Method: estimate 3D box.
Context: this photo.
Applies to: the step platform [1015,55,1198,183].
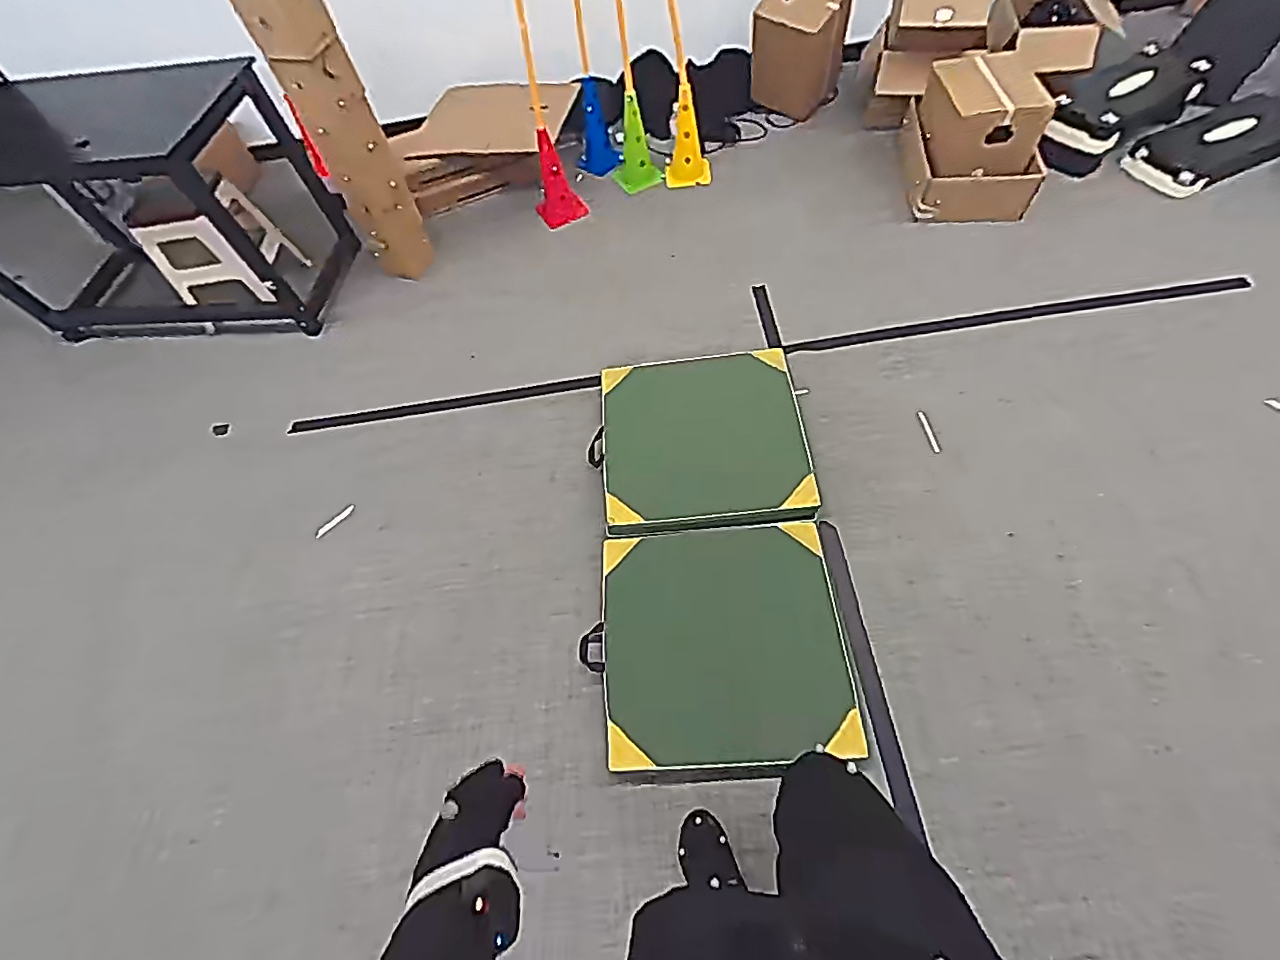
[{"bbox_3d":[1.929,-1.503,2.241,0.684,0.204,0.286,-33,61,-12],"label":"step platform"}]
